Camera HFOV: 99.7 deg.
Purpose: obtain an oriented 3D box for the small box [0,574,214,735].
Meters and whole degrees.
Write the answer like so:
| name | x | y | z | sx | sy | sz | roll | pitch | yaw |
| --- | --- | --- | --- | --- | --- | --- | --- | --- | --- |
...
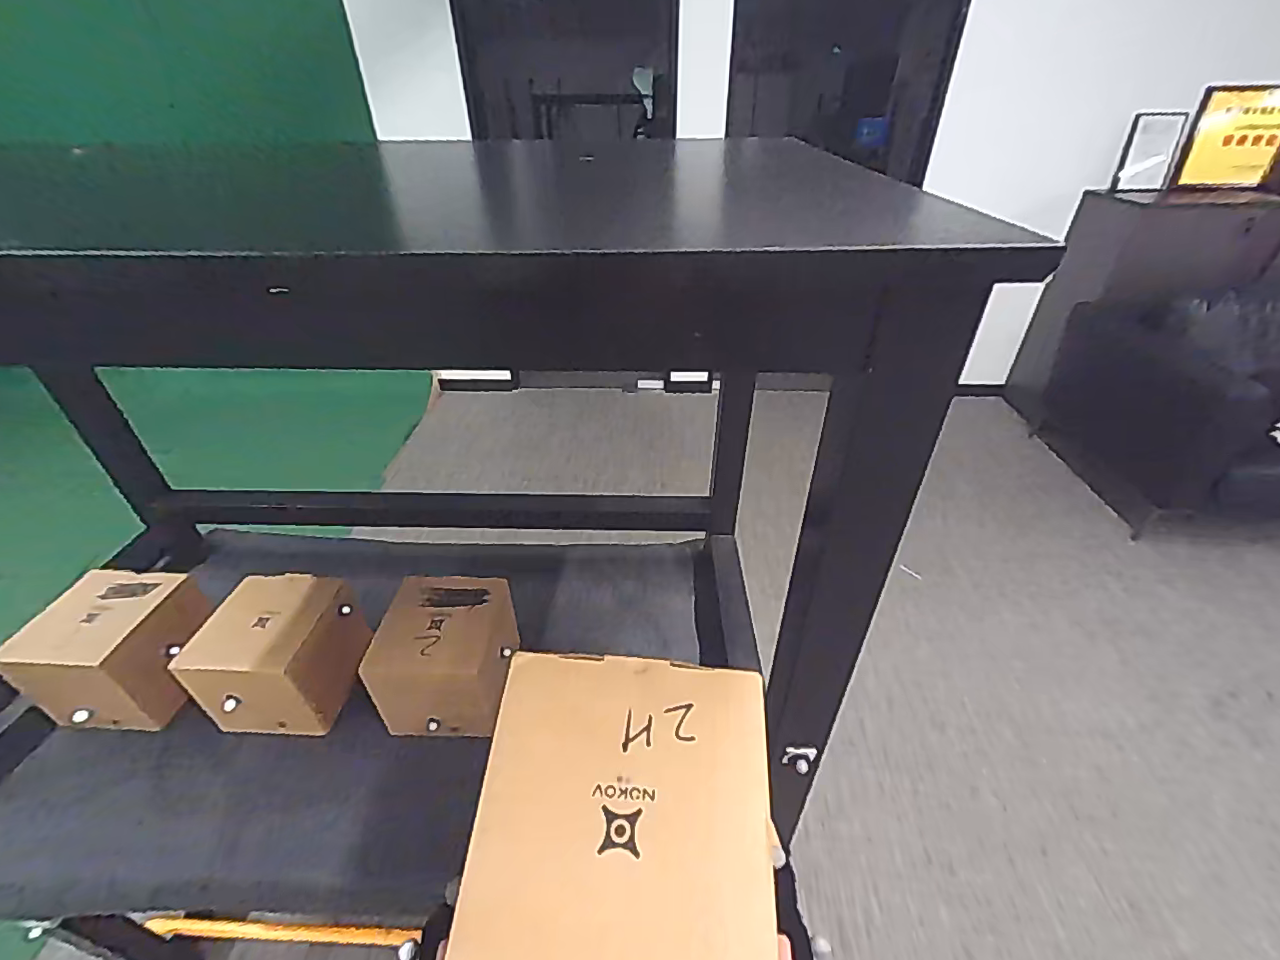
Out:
| name | x | y | z | sx | sy | sz | roll | pitch | yaw |
| --- | --- | --- | --- | --- | --- | --- | --- | --- | --- |
| small box | -0.807 | 0.271 | 0.851 | 0.168 | 0.176 | 0.179 | 1 | 36 | 2 |

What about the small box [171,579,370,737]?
| name | x | y | z | sx | sy | sz | roll | pitch | yaw |
| --- | --- | --- | --- | --- | --- | --- | --- | --- | --- |
| small box | -0.554 | 0.277 | 0.845 | 0.168 | 0.176 | 0.179 | 1 | 35 | 2 |
